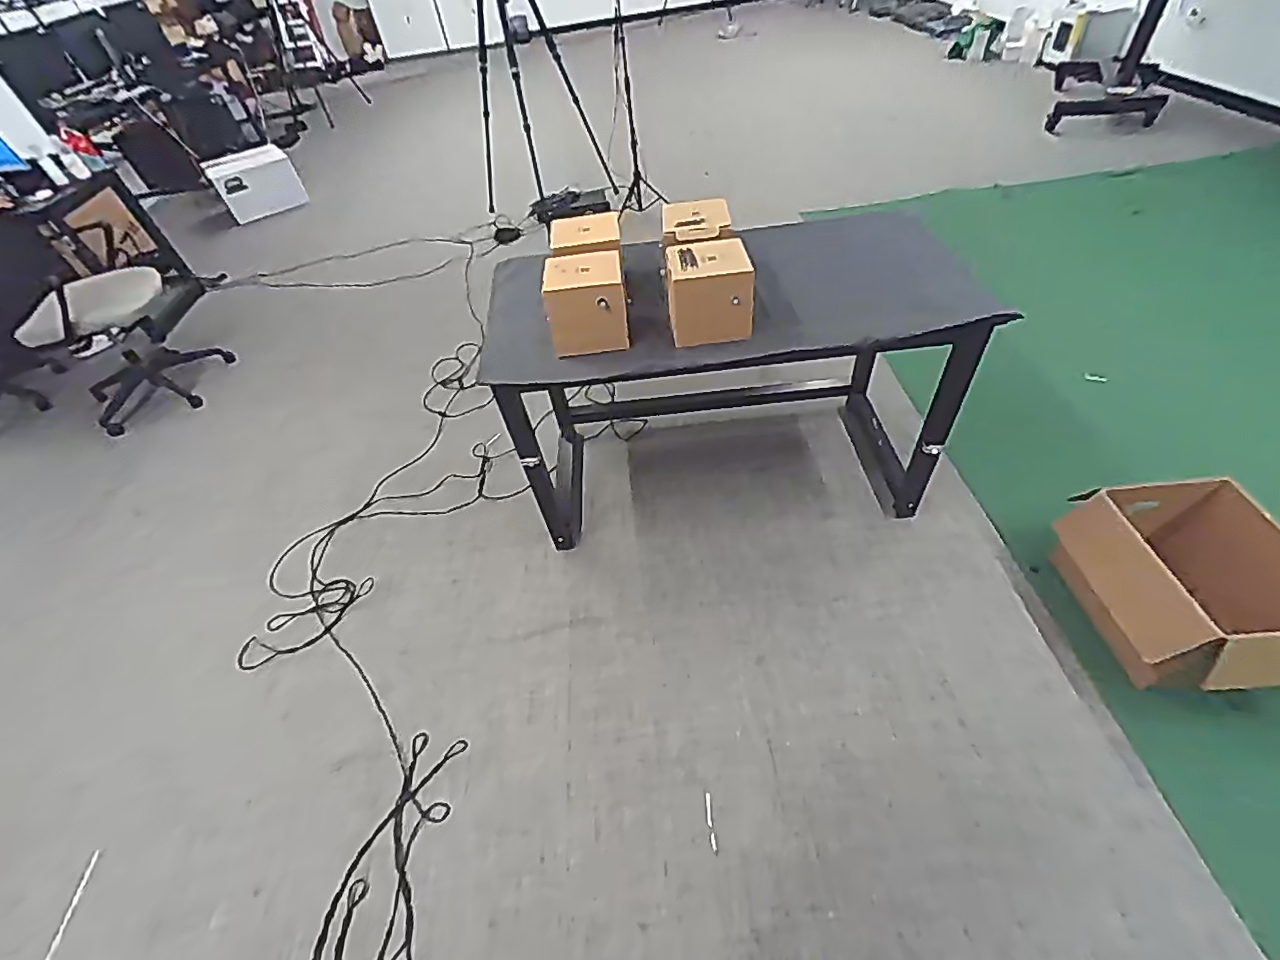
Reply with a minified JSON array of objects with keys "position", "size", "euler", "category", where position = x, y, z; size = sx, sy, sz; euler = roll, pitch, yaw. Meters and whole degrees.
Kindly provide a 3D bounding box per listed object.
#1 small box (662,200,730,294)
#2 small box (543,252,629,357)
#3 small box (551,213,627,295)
[{"position":[0.147,-0.599,1.404],"size":[0.168,0.176,0.179],"euler":[-3,47,5],"category":"small box"},{"position":[-0.120,-0.410,1.270],"size":[0.179,0.176,0.168],"euler":[-7,46,2],"category":"small box"},{"position":[-0.129,-0.572,1.424],"size":[0.179,0.176,0.168],"euler":[-8,48,2],"category":"small box"}]
